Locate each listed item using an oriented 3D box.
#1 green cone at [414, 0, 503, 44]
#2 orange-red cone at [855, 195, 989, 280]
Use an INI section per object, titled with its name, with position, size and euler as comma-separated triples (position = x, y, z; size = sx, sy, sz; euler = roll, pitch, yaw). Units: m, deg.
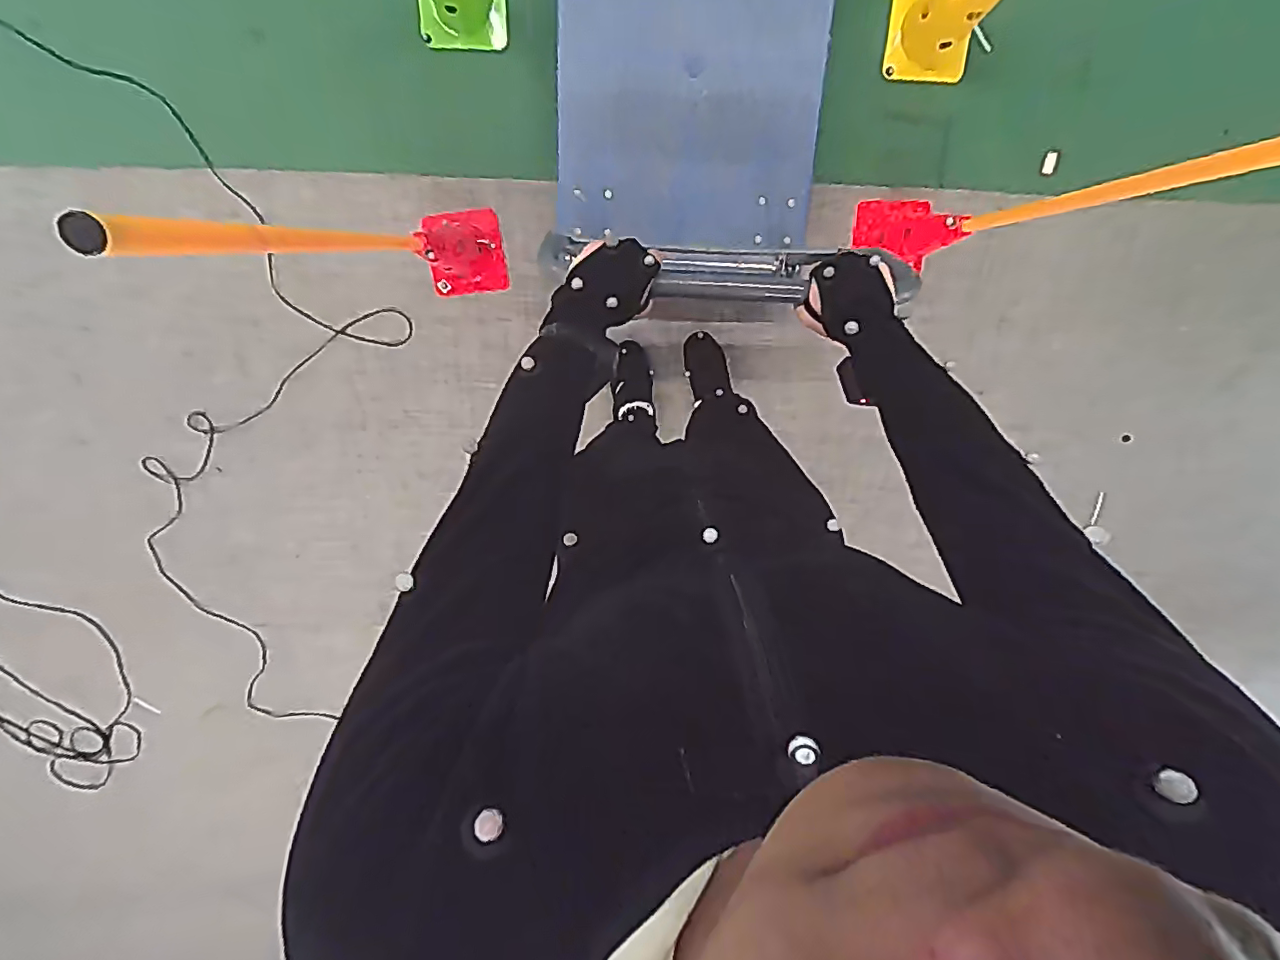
[green cone]
position = -0.409, -1.045, 1.049
size = 0.200, 0.368, 0.202
euler = 1, 108, -1
[orange-red cone]
position = 0.668, -0.576, 1.239
size = 0.198, 0.360, 0.199
euler = 1, 108, -2
